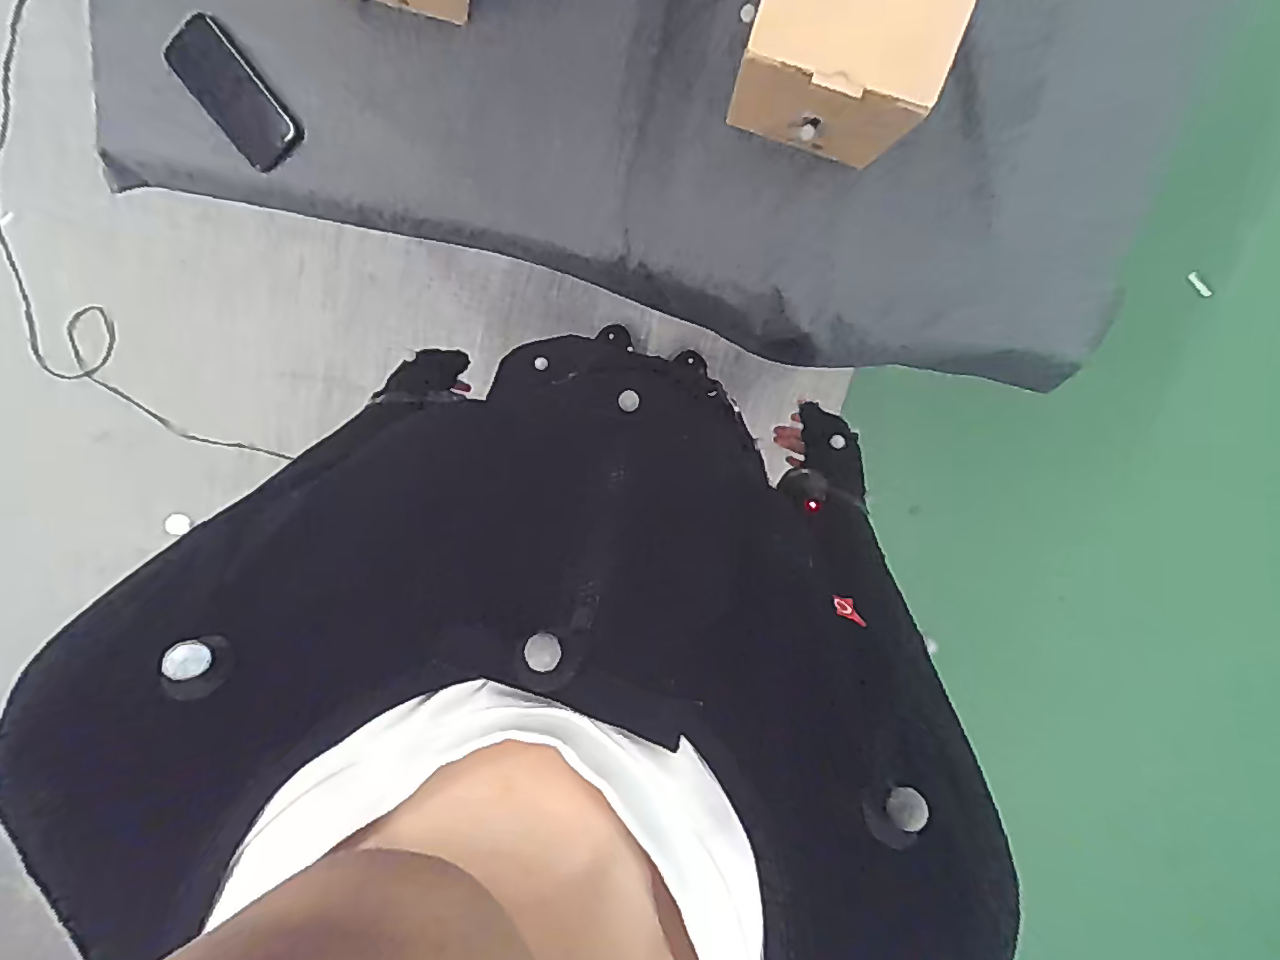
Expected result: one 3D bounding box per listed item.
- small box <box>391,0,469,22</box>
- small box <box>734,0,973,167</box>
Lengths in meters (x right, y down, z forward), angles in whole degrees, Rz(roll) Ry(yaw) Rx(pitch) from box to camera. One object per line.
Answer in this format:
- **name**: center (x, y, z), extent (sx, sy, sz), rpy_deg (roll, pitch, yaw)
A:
- **small box**: center (-0.250, -0.573, 0.492), extent (0.168, 0.176, 0.179), rpy_deg (15, 105, -1)
- **small box**: center (0.193, -0.424, 0.506), extent (0.168, 0.176, 0.179), rpy_deg (17, 106, -1)
